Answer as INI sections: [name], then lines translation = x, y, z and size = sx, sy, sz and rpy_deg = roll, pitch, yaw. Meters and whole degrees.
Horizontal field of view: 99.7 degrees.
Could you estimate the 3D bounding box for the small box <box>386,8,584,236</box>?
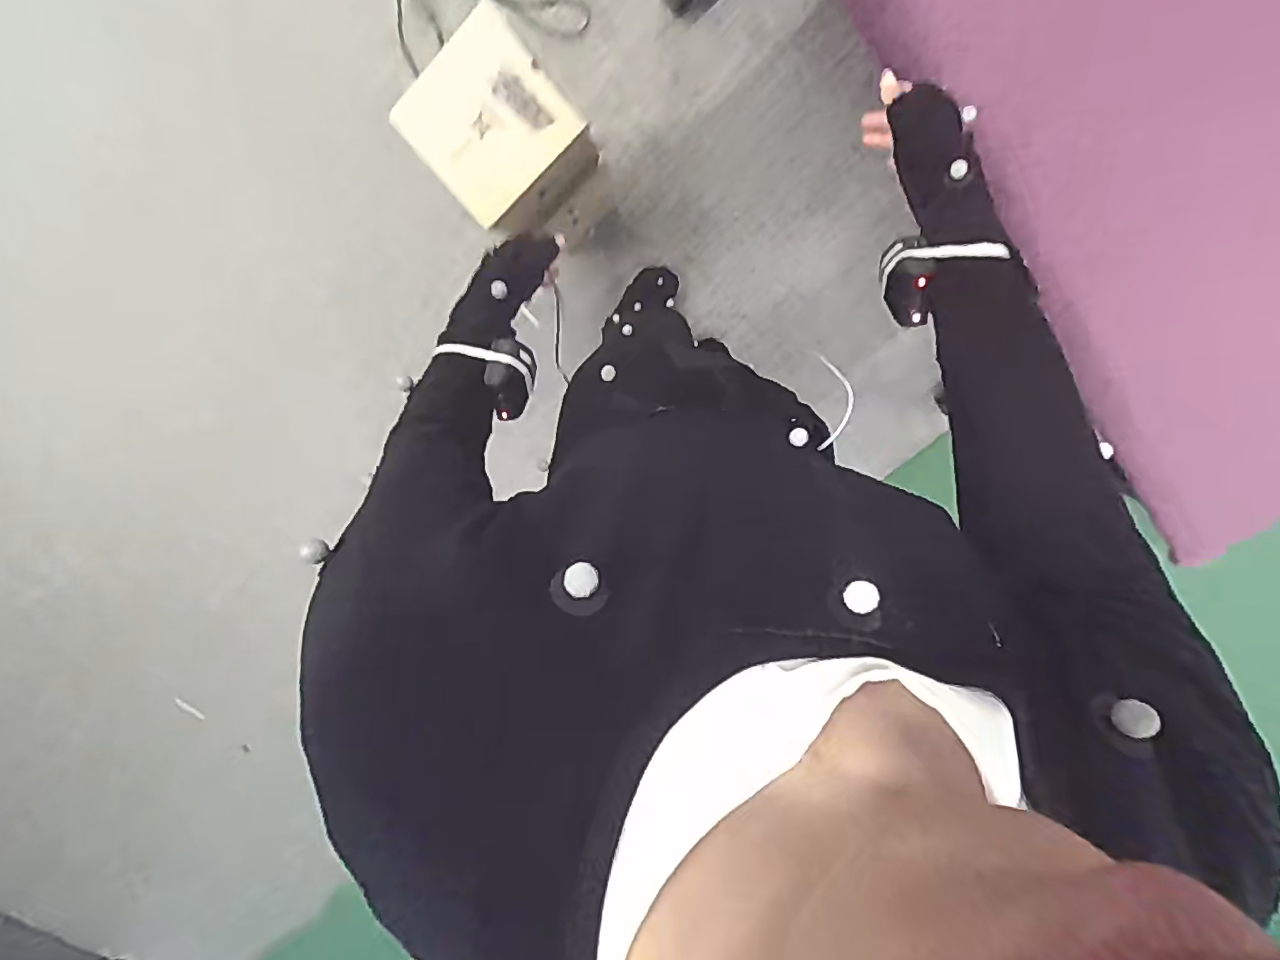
[small box]
translation = -0.189, -0.454, 0.722
size = 0.179, 0.176, 0.168
rpy_deg = -37, 106, 15
